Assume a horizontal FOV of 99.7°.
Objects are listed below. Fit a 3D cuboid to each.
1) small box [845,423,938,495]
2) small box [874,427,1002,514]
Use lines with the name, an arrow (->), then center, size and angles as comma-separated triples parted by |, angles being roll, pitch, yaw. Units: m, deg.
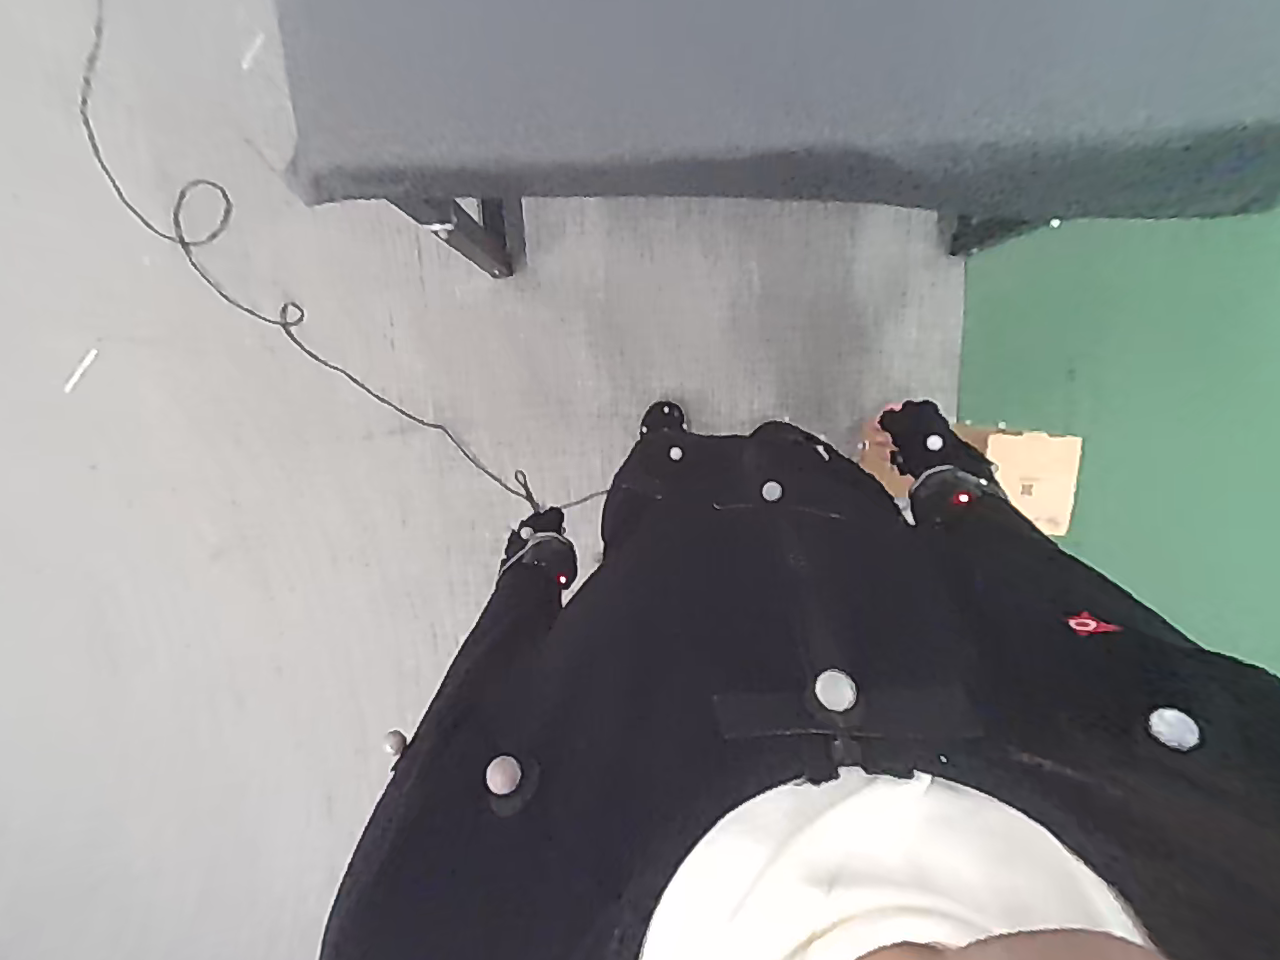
small box -> 0.635, -0.055, 1.344 | 0.179, 0.176, 0.168 | 2, 98, 0
small box -> 0.642, -0.027, 1.182 | 0.179, 0.176, 0.168 | 3, 98, -1
